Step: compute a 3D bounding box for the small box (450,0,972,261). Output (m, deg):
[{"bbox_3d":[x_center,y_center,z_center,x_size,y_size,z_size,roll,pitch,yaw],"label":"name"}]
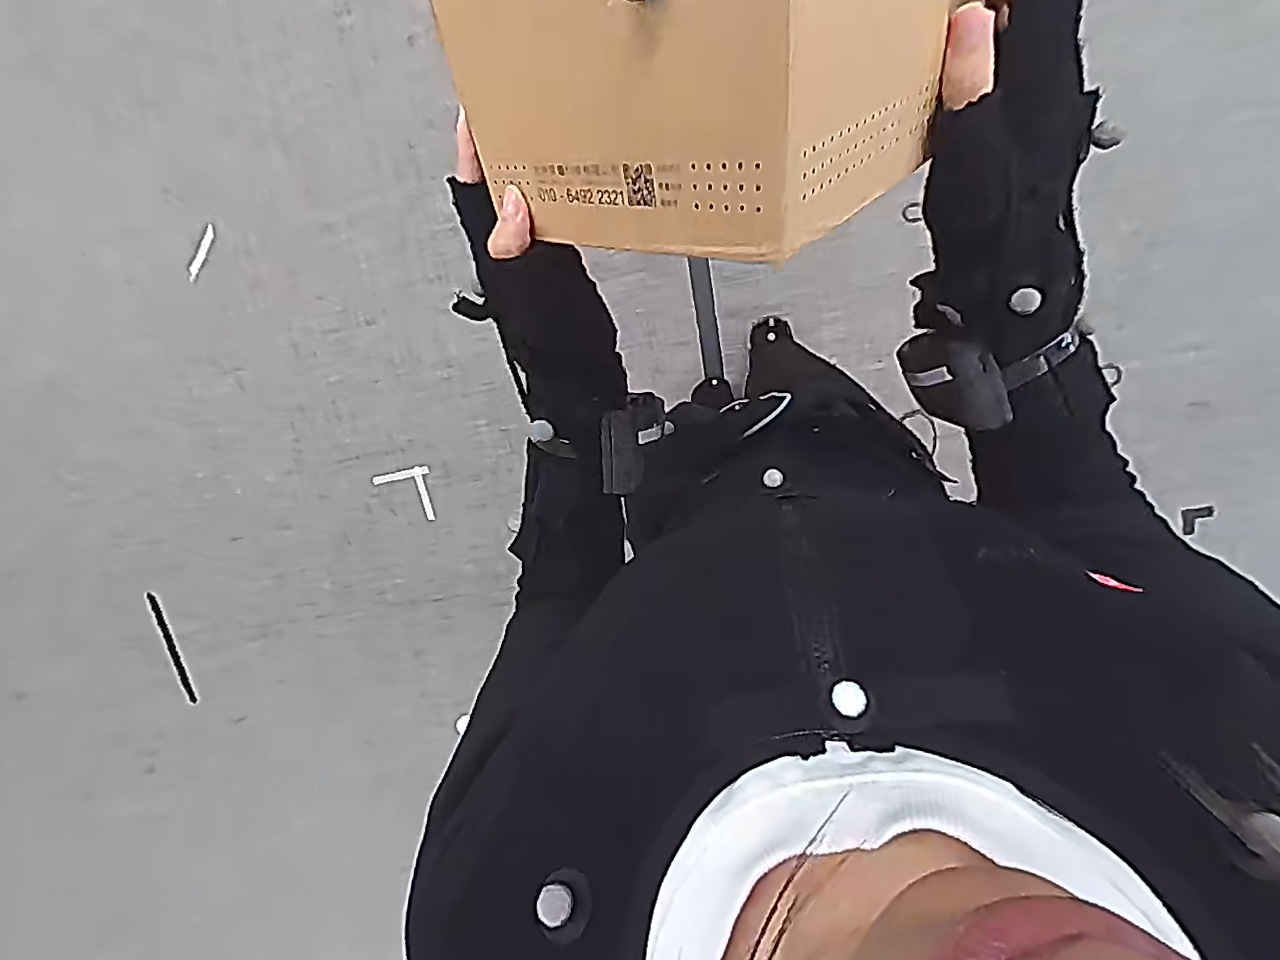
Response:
[{"bbox_3d":[0.034,-0.210,0.231,0.168,0.179,0.176,25,143,36],"label":"small box"}]
